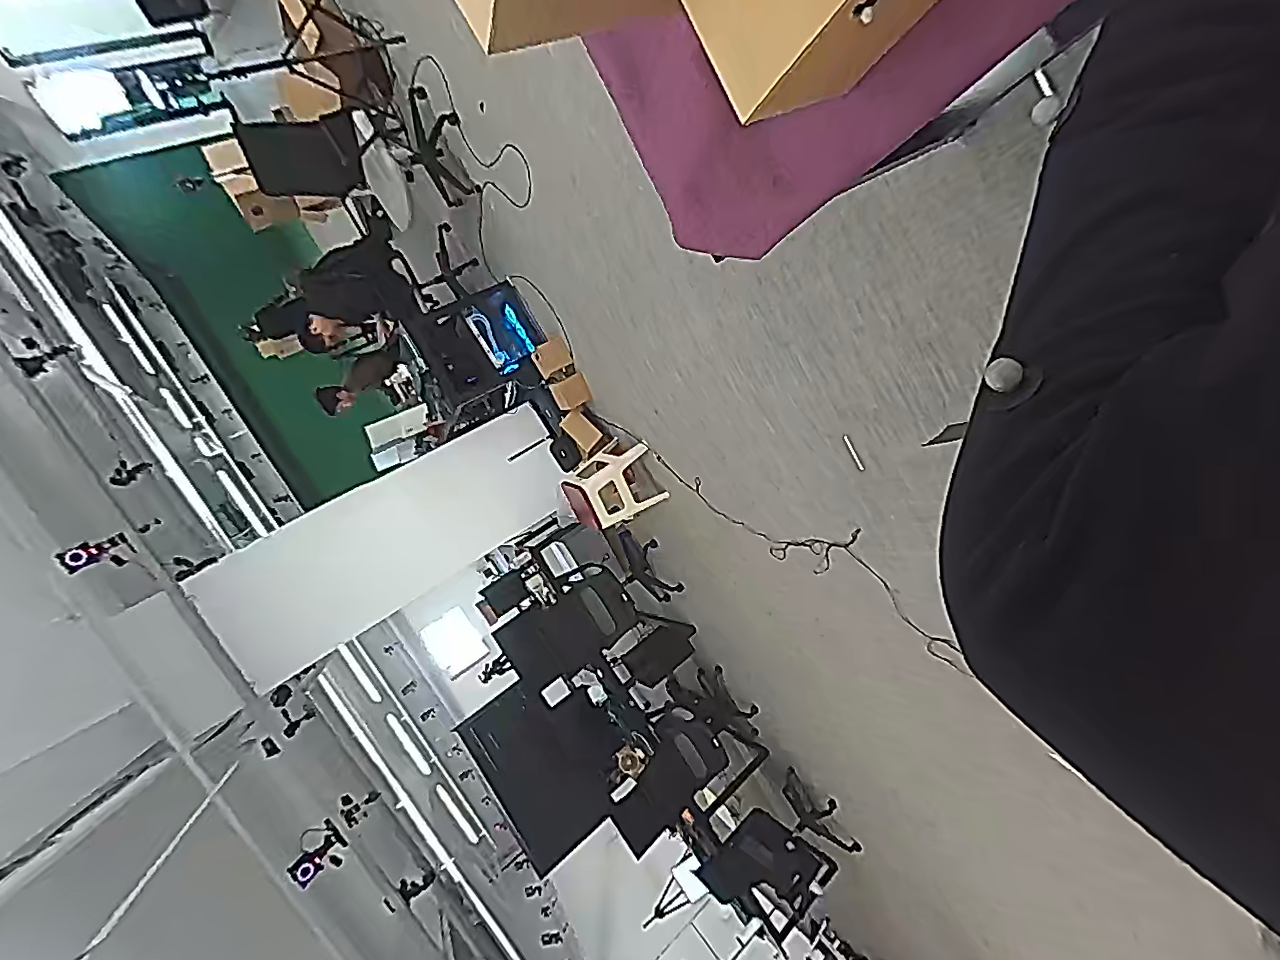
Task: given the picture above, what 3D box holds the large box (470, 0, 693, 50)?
[{"bbox_3d":[-0.088,-0.729,0.491,0.408,0.320,0.320,57,157,-6],"label":"large box"}]
